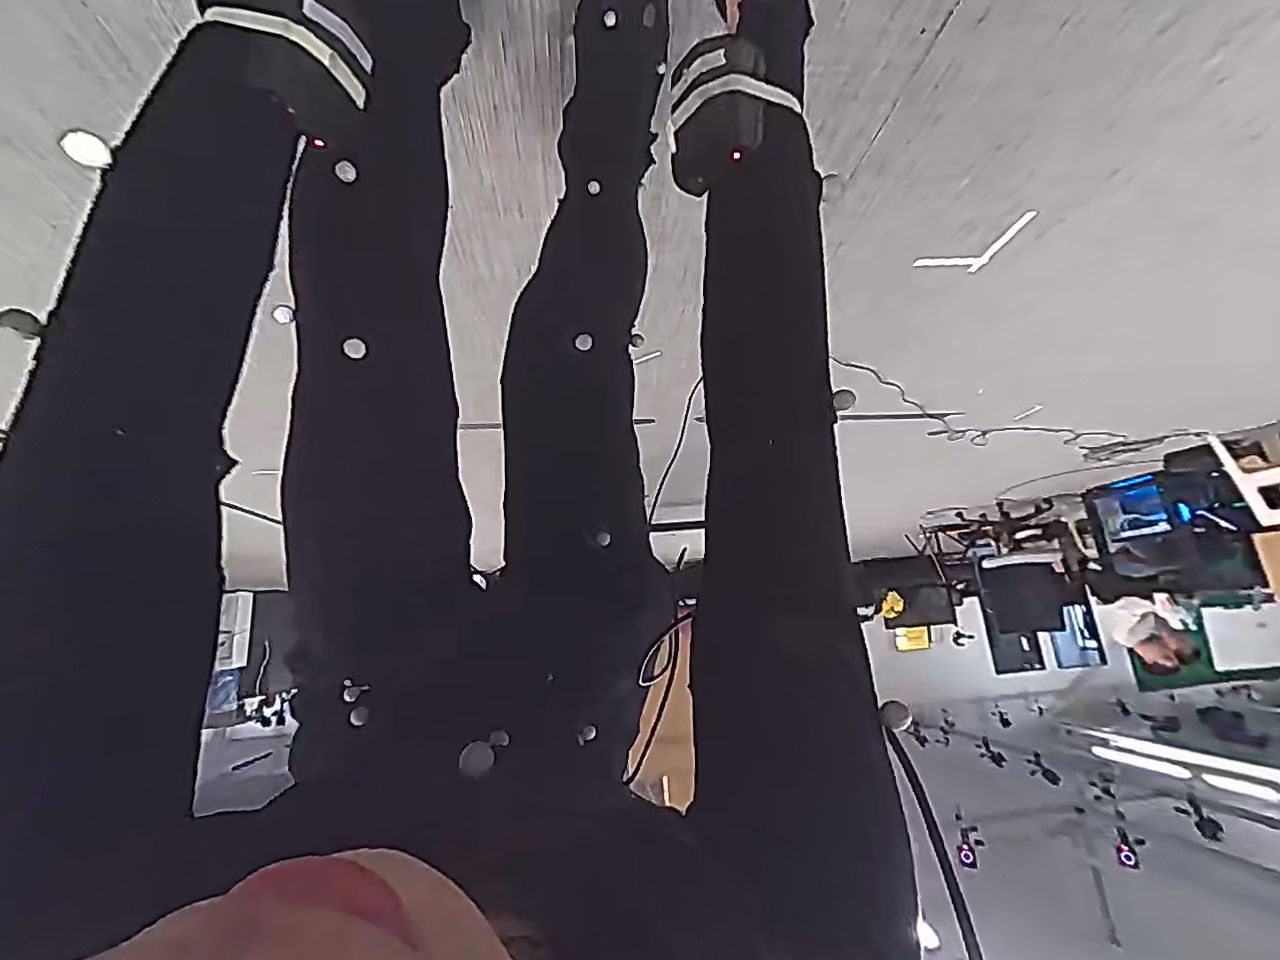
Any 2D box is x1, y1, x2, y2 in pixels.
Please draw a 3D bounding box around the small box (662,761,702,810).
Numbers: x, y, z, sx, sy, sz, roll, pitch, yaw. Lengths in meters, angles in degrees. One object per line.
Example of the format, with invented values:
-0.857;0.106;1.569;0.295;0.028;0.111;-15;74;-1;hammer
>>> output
0.199;1.480;2.628;0.168;0.176;0.179;-4;163;-6;small box
